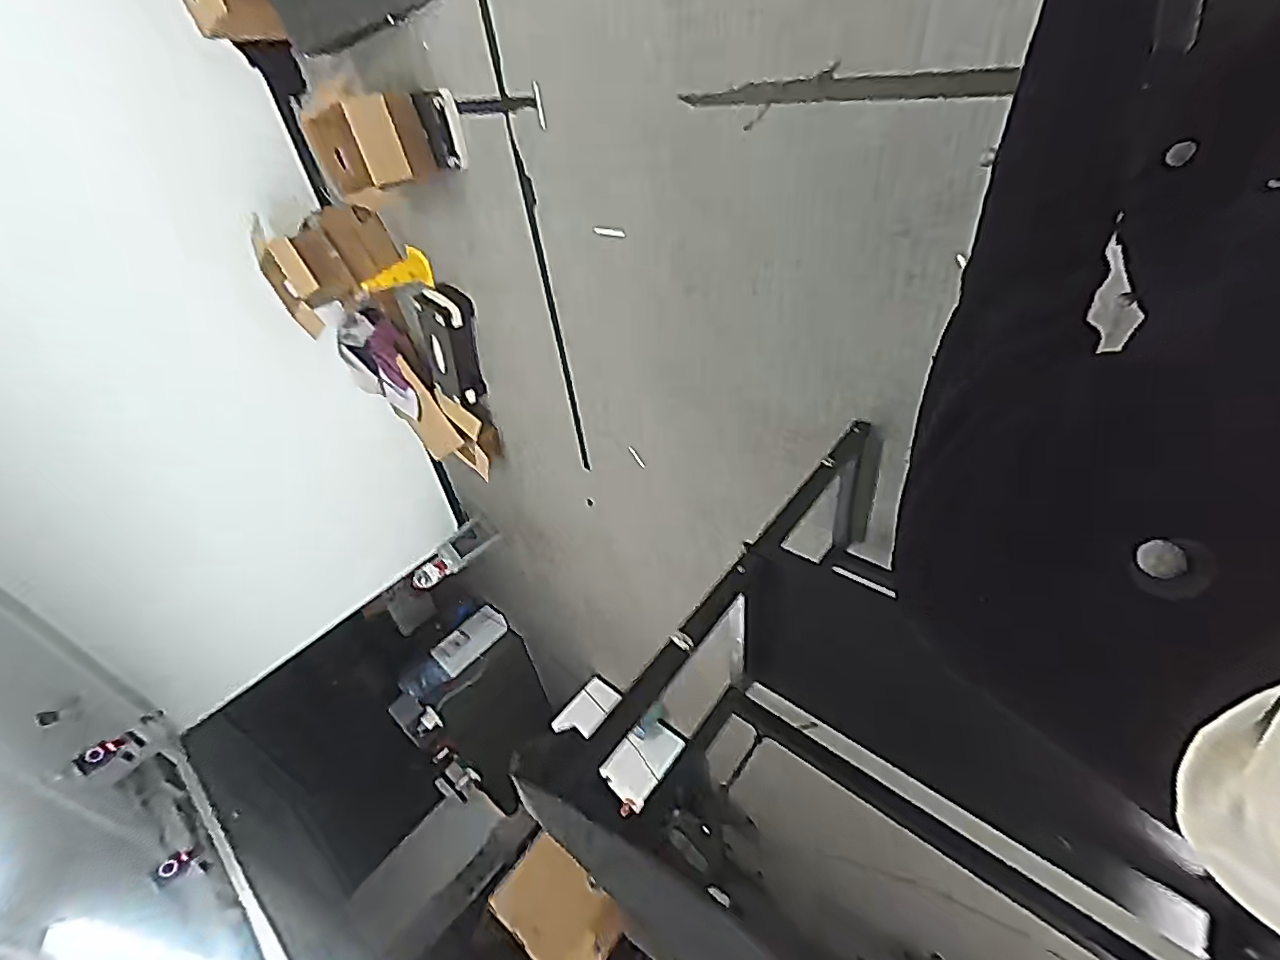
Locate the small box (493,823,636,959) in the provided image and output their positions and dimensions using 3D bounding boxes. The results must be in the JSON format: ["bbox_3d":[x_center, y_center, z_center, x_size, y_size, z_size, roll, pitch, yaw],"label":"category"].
[{"bbox_3d":[-0.128,0.769,0.979,0.168,0.176,0.179,21,138,35],"label":"small box"}]
